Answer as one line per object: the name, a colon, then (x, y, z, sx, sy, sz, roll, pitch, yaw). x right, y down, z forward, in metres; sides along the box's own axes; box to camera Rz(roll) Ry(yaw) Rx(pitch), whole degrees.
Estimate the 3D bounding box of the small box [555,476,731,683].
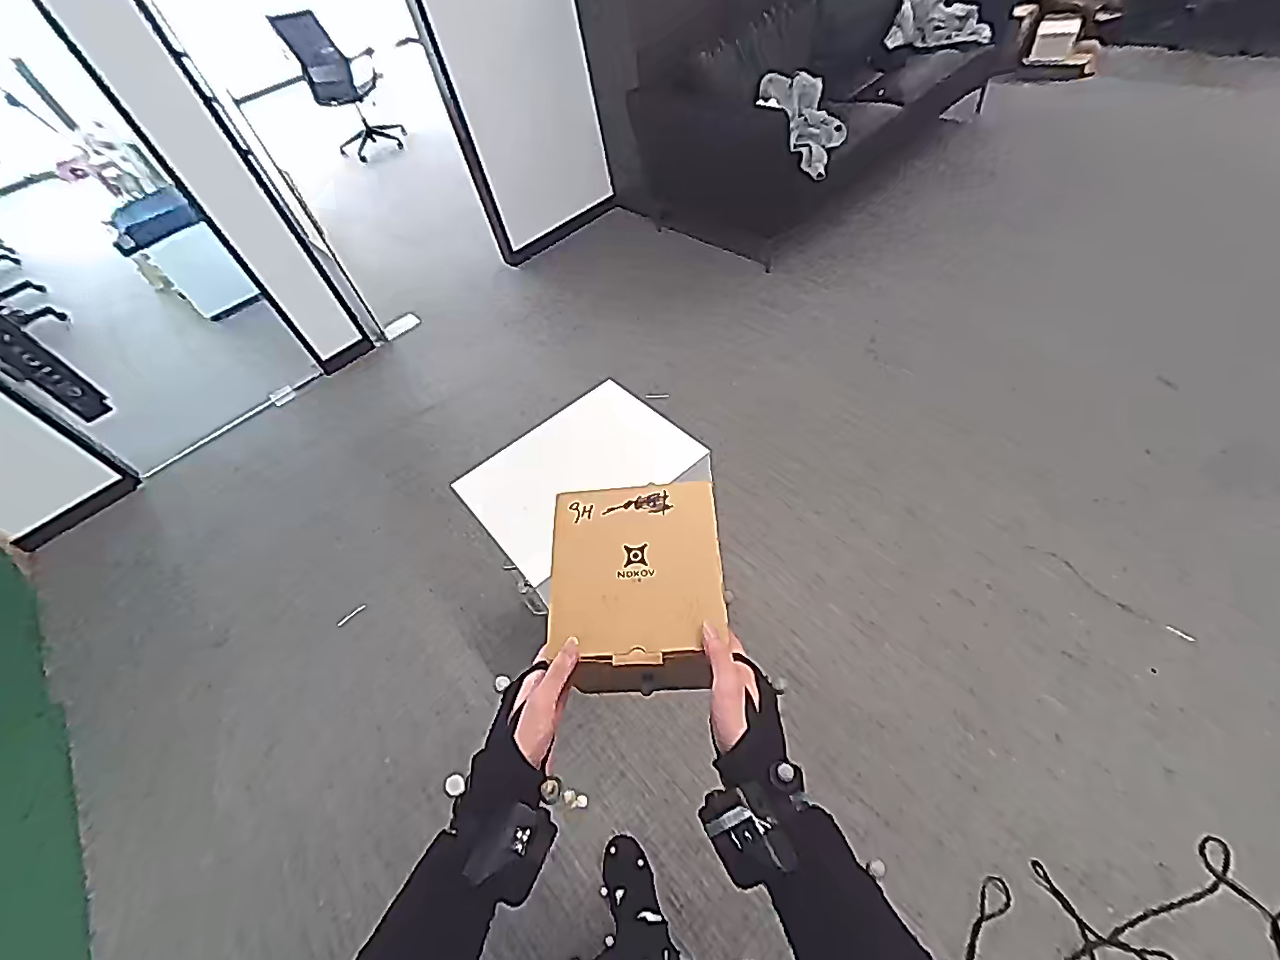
small box: (0.009, 0.119, 0.596, 0.168, 0.176, 0.179, -7, 58, 4)
